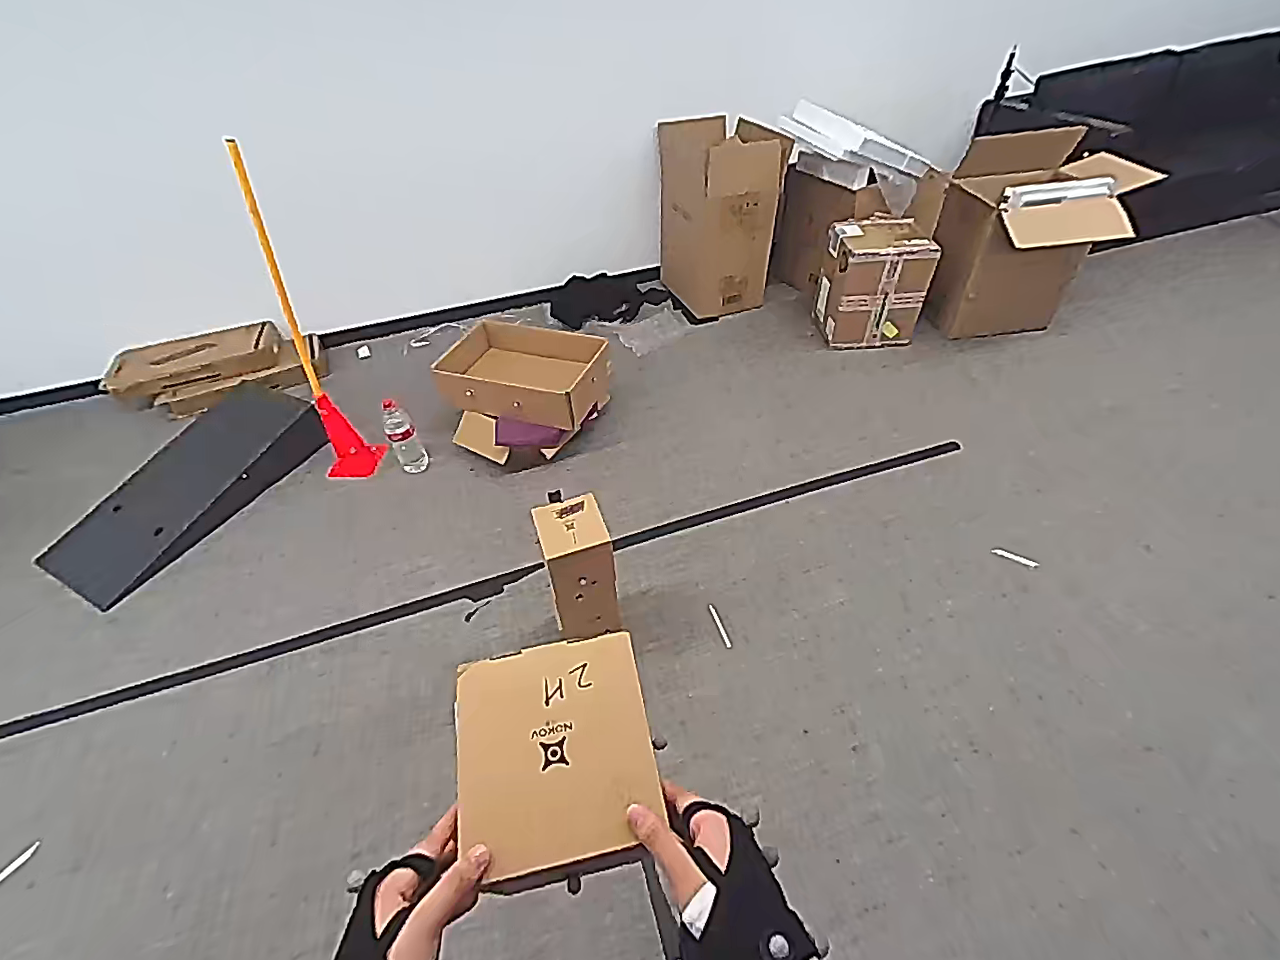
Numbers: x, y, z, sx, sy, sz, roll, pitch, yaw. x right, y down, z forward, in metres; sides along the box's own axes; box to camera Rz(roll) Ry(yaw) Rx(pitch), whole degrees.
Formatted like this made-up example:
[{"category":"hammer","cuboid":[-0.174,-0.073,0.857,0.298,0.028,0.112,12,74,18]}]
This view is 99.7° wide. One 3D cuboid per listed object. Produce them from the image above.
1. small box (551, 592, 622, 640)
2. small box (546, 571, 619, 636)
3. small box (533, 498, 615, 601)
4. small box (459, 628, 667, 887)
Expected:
[{"category":"small box","cuboid":[-0.156,0.417,1.627,0.179,0.176,0.168,-16,45,-10]},{"category":"small box","cuboid":[-0.164,0.301,1.512,0.168,0.176,0.179,-16,44,-12]},{"category":"small box","cuboid":[-0.169,0.181,1.399,0.168,0.176,0.179,-16,46,-12]},{"category":"small box","cuboid":[-0.070,0.274,0.529,0.168,0.176,0.179,-11,51,-7]}]
